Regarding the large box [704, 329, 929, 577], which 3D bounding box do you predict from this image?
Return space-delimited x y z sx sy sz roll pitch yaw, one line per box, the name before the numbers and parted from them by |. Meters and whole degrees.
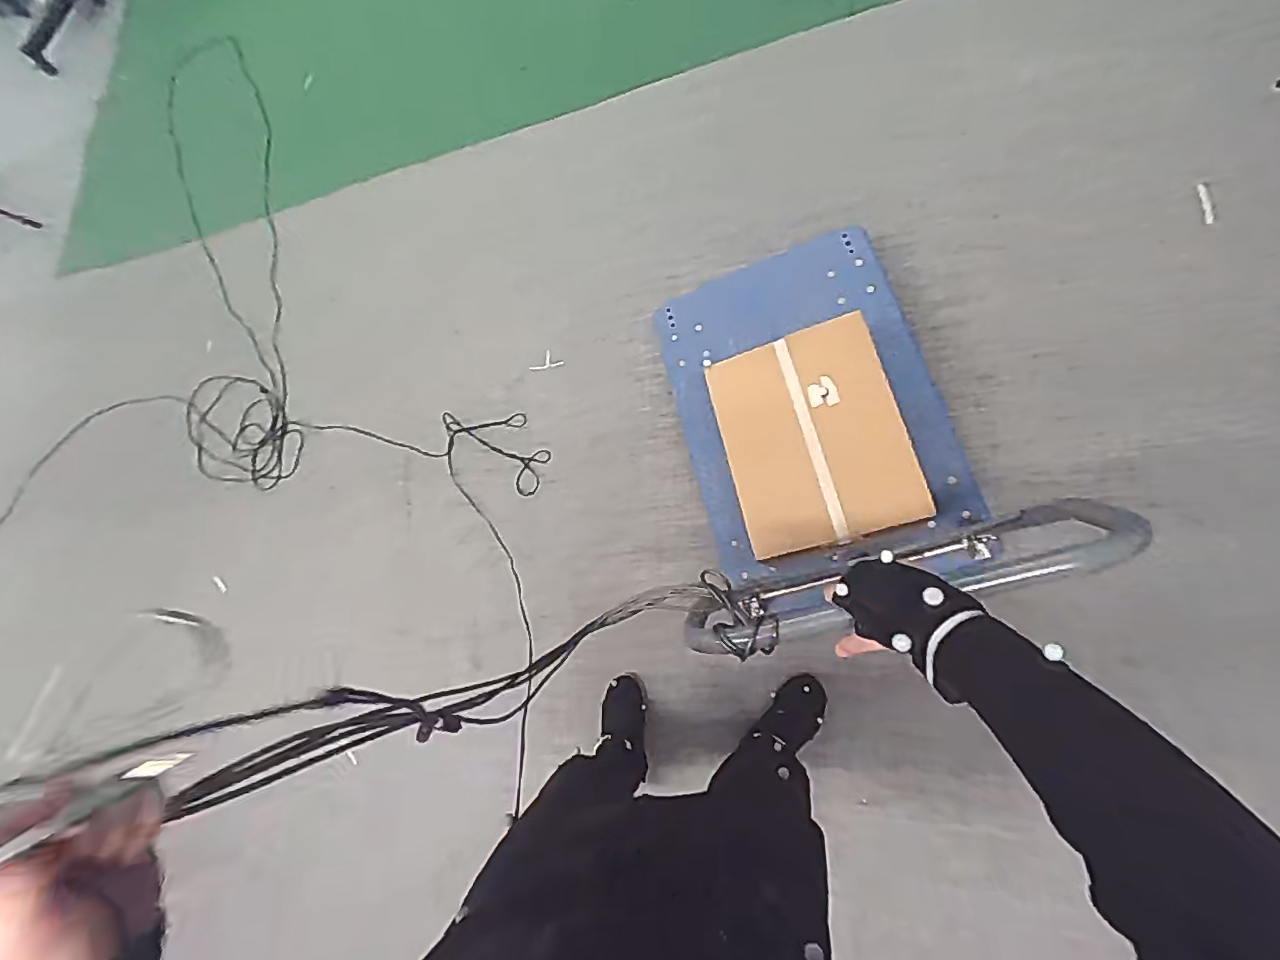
large box | 0.366 -0.031 1.151 0.320 0.320 0.408 -17 72 16
